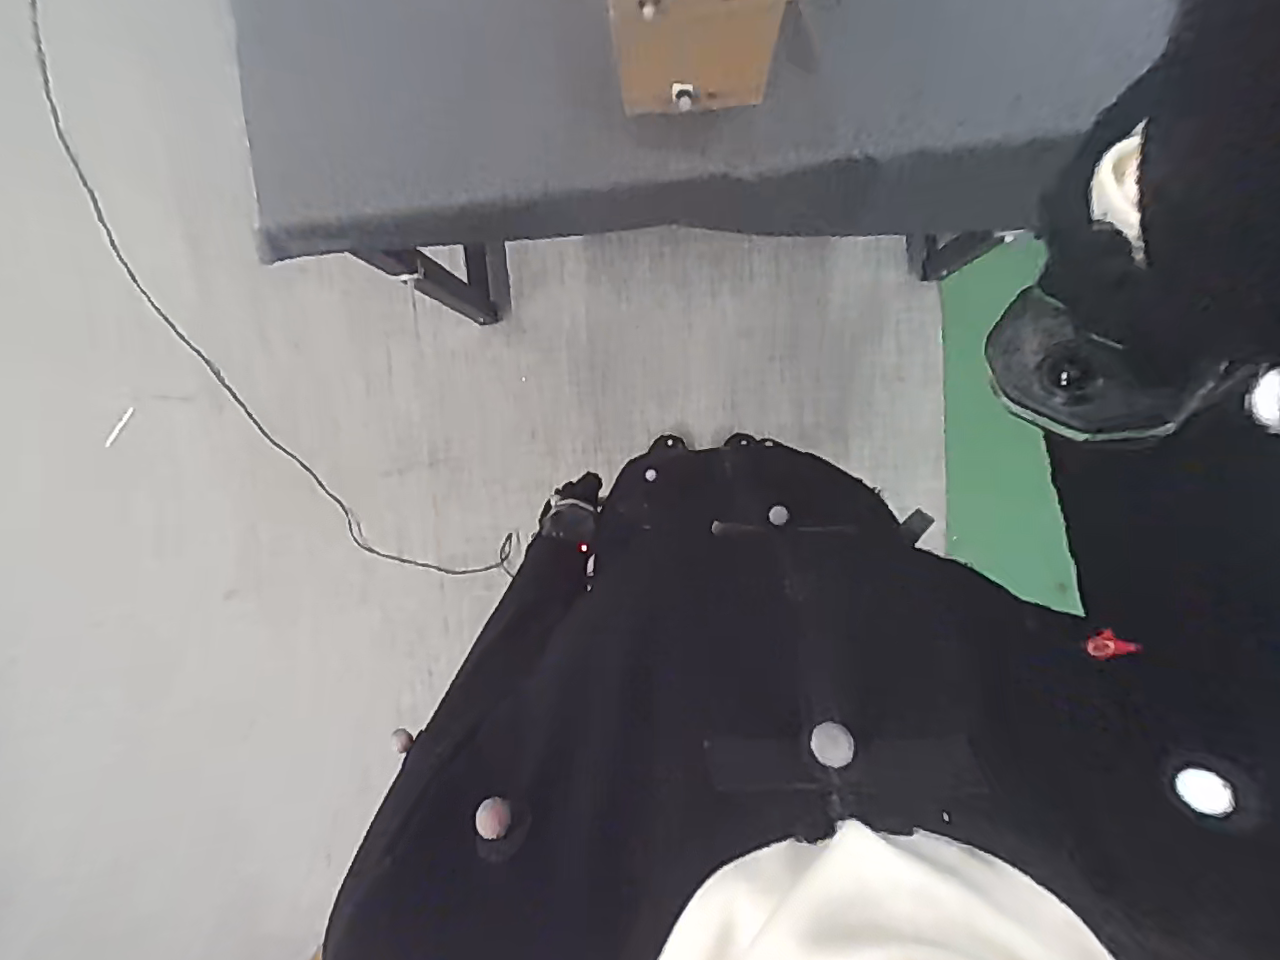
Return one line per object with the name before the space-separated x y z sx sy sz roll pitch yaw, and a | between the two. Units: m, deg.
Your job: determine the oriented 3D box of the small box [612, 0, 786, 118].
small box | 0.057 -0.532 0.578 0.168 0.176 0.179 -3 95 6
